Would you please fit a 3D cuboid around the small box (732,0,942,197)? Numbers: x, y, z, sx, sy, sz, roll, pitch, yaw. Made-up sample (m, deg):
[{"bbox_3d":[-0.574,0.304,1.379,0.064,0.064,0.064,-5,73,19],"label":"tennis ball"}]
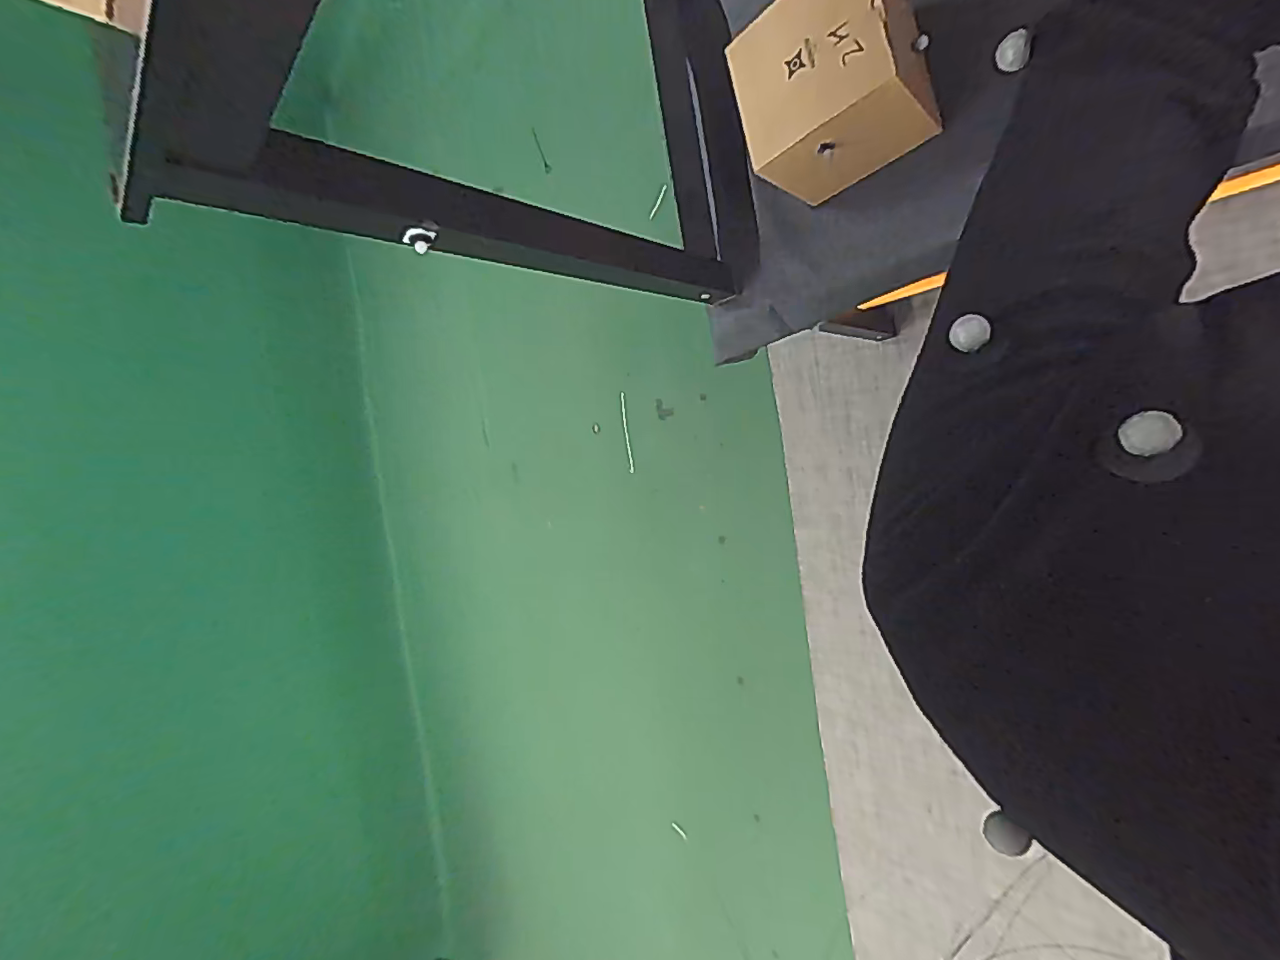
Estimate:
[{"bbox_3d":[0.245,-0.489,0.675,0.179,0.176,0.168,-15,87,43],"label":"small box"}]
